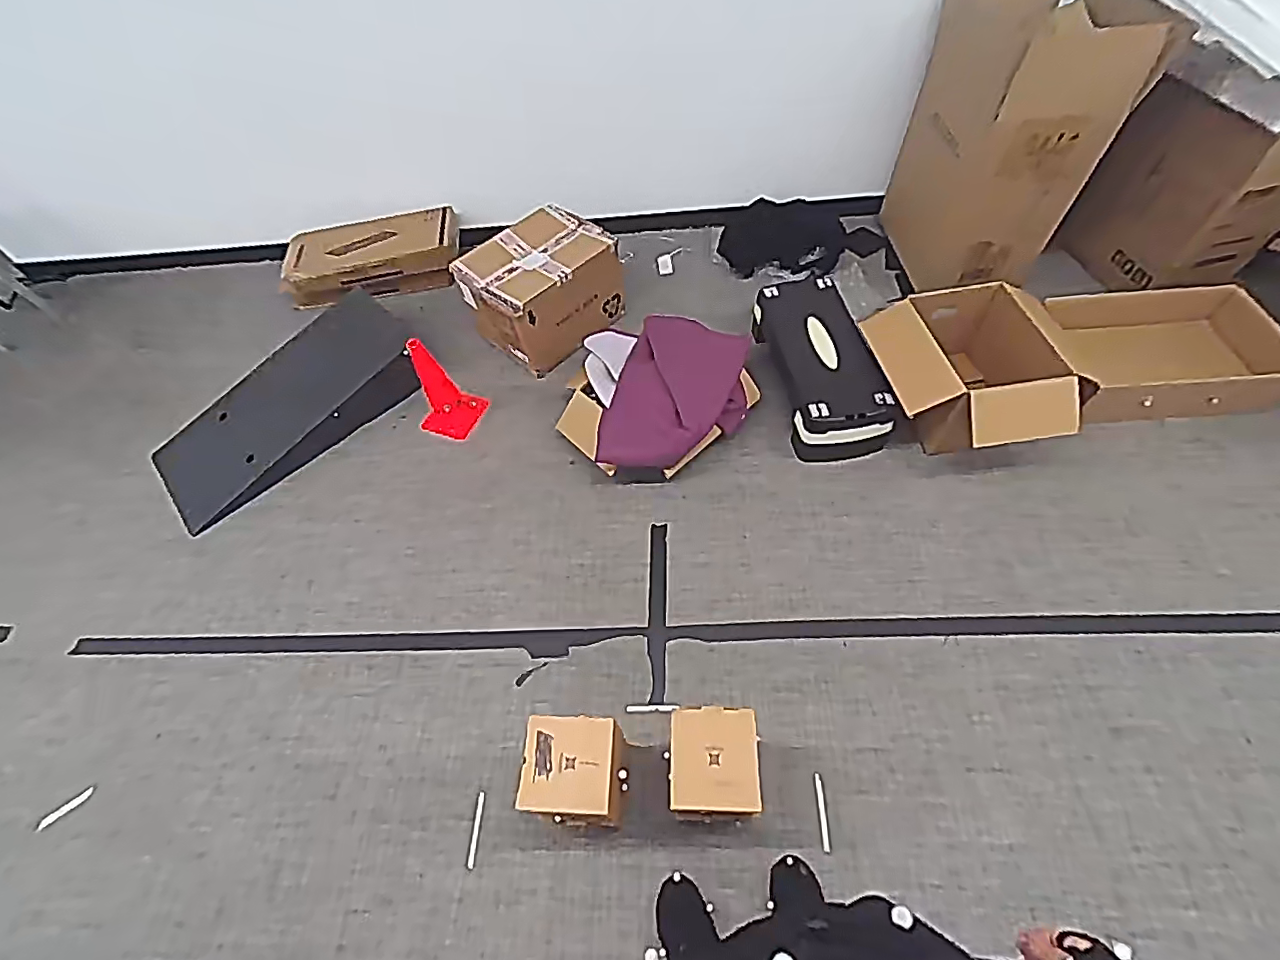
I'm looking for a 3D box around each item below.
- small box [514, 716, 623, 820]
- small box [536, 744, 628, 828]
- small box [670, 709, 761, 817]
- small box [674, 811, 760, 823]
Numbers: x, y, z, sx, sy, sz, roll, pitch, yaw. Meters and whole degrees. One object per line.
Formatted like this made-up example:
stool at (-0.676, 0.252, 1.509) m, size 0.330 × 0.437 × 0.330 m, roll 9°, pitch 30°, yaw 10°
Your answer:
small box at (-0.135, 0.583, 1.091) m, size 0.179 × 0.176 × 0.168 m, roll 0°, pitch 57°, yaw 6°
small box at (-0.122, 0.680, 1.225) m, size 0.168 × 0.176 × 0.179 m, roll 0°, pitch 57°, yaw 7°
small box at (0.145, 0.566, 1.077) m, size 0.168 × 0.176 × 0.179 m, roll -2°, pitch 58°, yaw 6°
small box at (0.164, 0.664, 1.206) m, size 0.179 × 0.176 × 0.168 m, roll -3°, pitch 56°, yaw 4°
